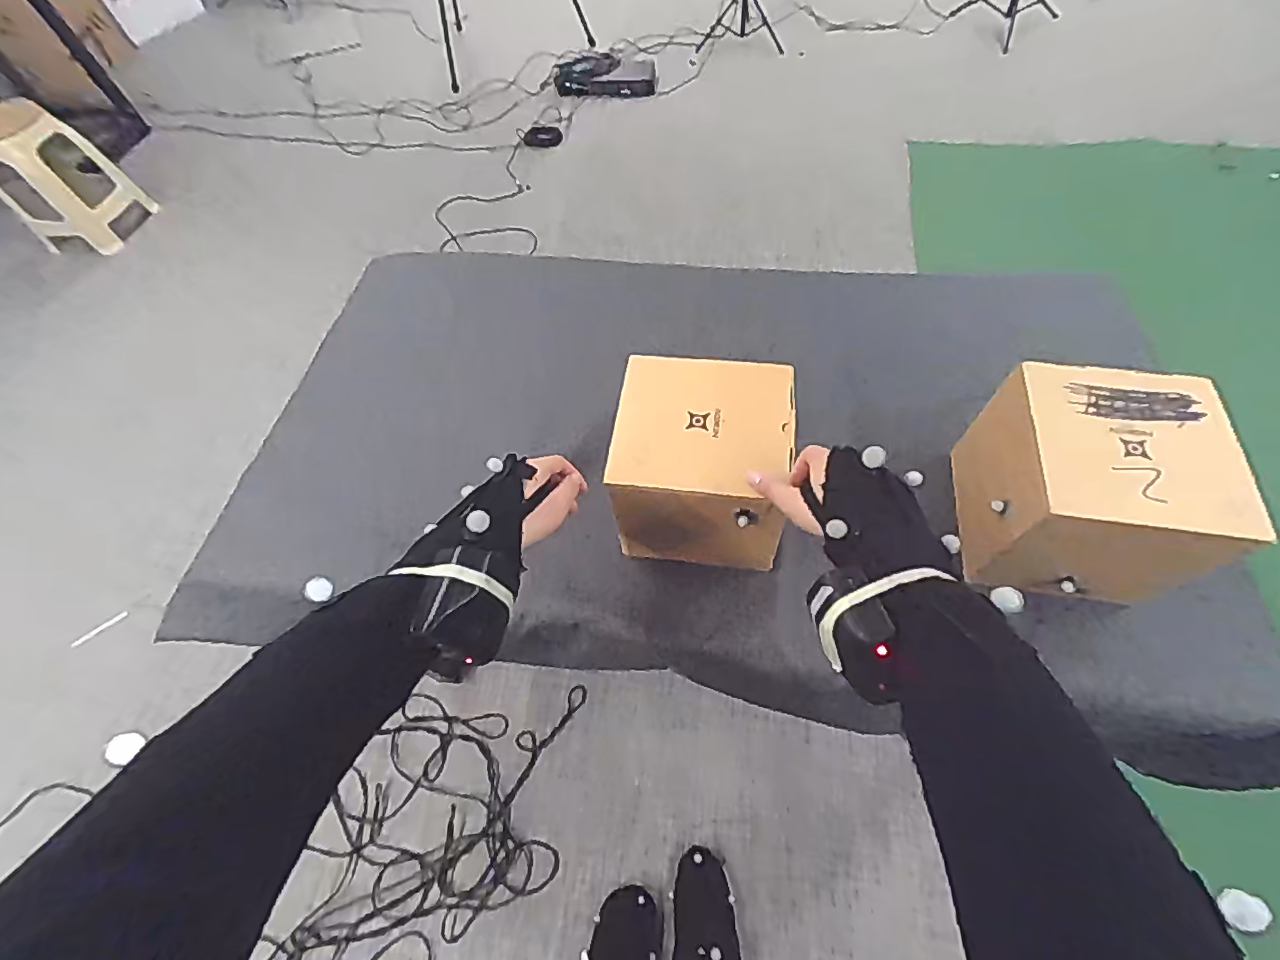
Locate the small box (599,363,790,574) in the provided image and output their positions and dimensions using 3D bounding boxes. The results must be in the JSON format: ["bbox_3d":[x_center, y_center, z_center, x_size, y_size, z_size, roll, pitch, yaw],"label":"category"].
[{"bbox_3d":[0.064,-0.008,0.598,0.179,0.176,0.168,6,59,7],"label":"small box"}]
